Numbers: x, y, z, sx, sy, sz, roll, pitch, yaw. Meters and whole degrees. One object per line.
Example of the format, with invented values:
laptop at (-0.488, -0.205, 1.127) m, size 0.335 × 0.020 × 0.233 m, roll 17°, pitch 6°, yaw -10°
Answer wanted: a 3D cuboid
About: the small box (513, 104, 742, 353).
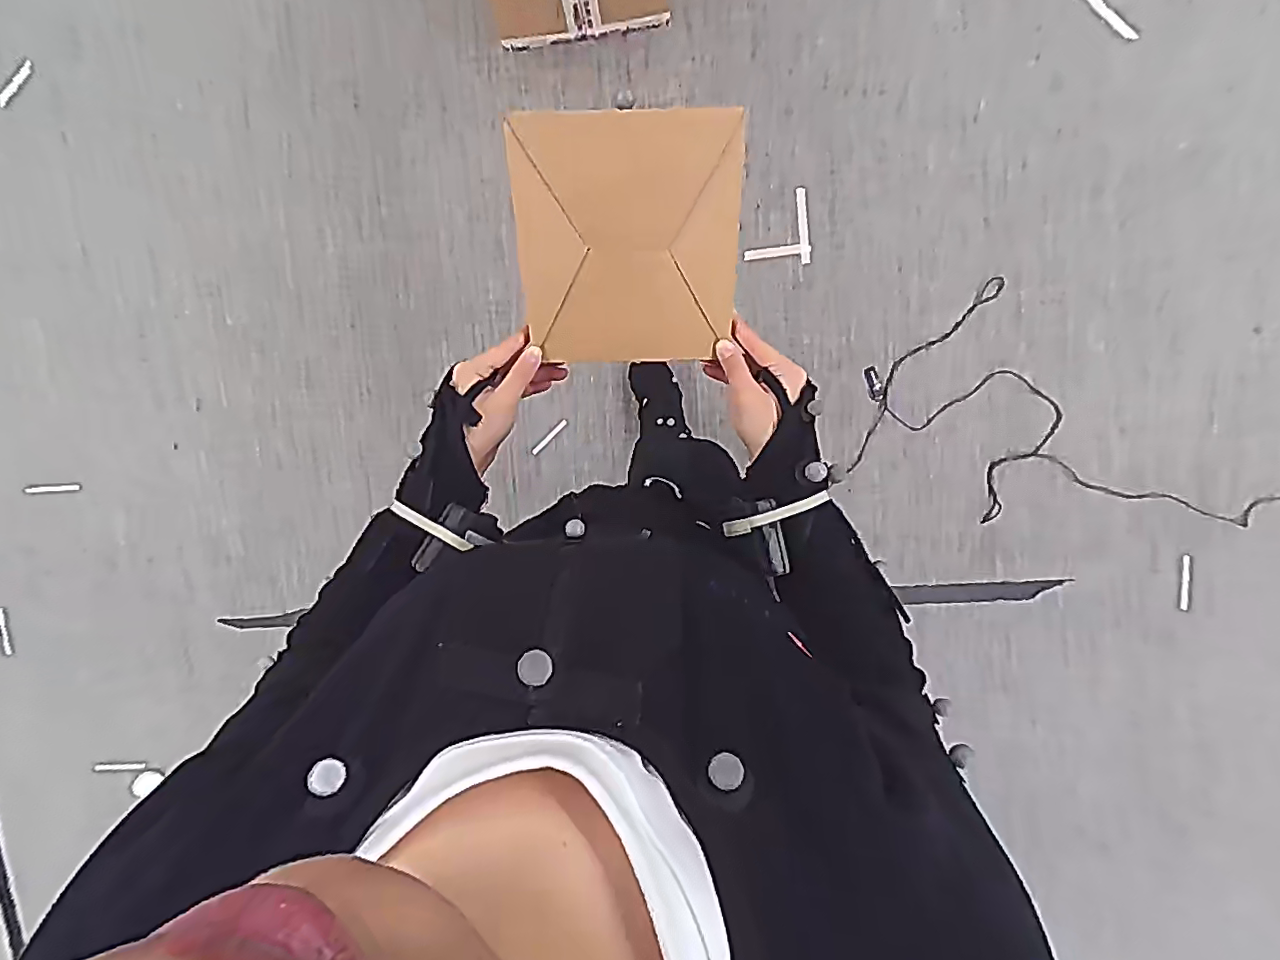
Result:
small box at (-0.009, -0.221, 0.481) m, size 0.168 × 0.176 × 0.179 m, roll -1°, pitch 122°, yaw 0°
